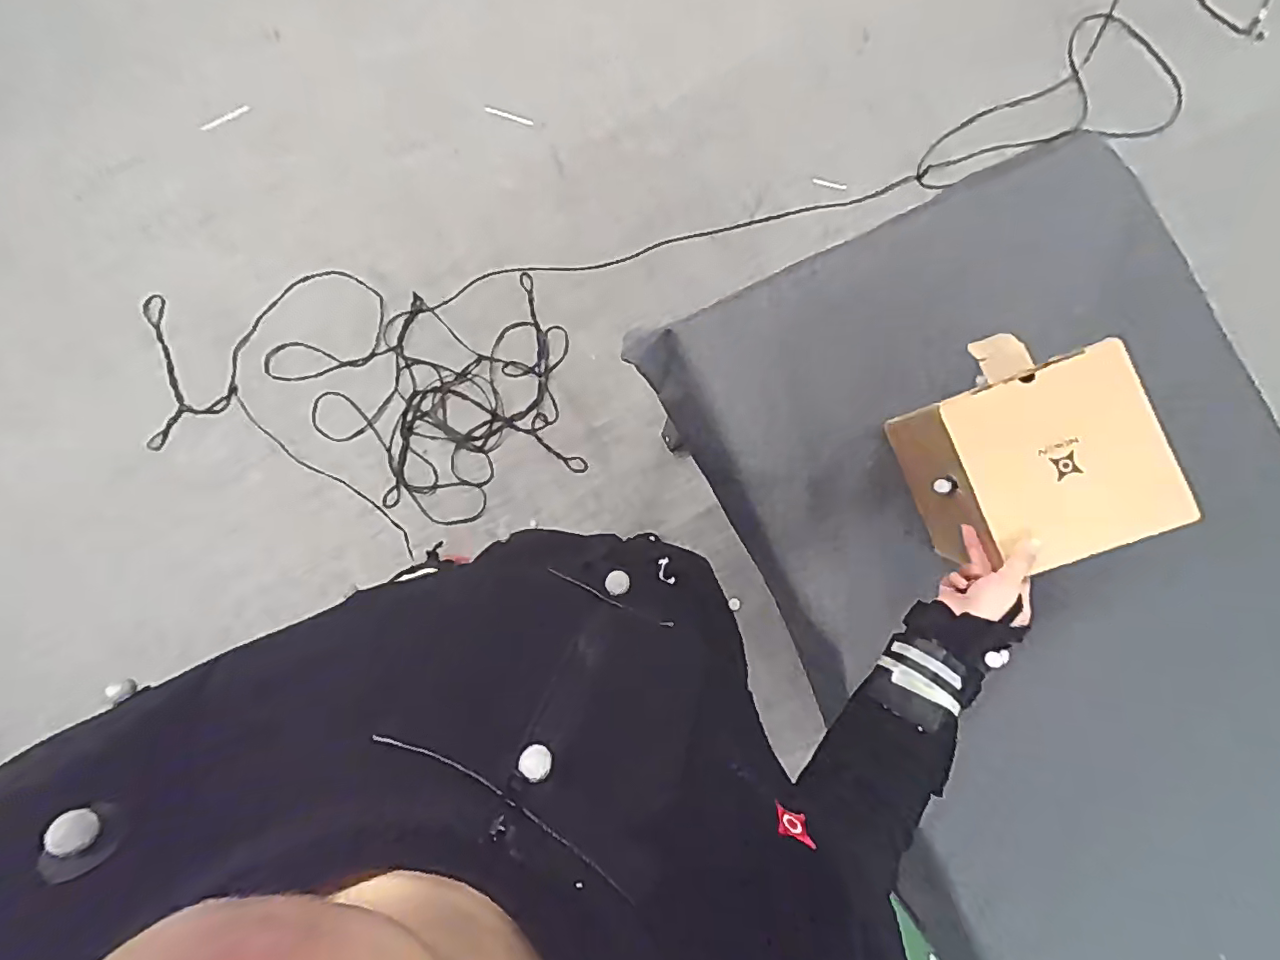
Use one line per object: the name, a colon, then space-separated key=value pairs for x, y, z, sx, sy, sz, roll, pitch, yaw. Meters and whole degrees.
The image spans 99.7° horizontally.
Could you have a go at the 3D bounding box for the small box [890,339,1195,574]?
small box: x=0.397 y=-0.020 z=0.570 sx=0.168 sy=0.176 sz=0.179 roll=-21 pitch=86 yaw=6
